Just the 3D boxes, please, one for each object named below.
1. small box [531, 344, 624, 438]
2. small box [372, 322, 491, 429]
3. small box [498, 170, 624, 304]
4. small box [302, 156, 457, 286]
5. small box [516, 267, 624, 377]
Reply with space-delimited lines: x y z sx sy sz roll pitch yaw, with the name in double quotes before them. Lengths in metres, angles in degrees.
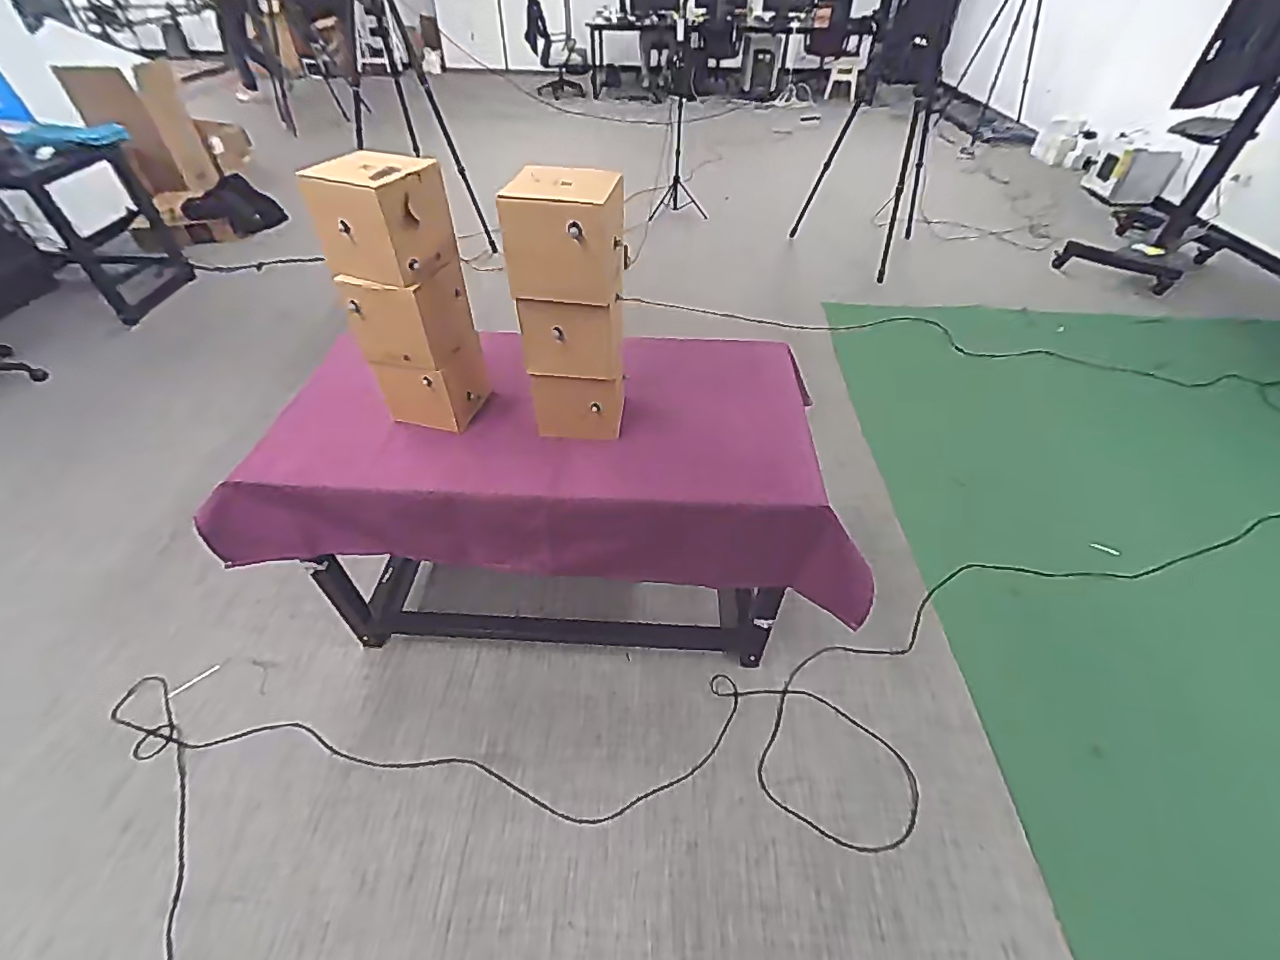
"small box" -0.129 -0.210 1.204 0.179 0.176 0.168 4 44 3
"small box" -0.461 -0.235 1.226 0.179 0.176 0.168 11 46 9
"small box" -0.128 -0.428 0.957 0.179 0.176 0.168 7 44 6
"small box" -0.468 -0.480 1.006 0.179 0.176 0.168 16 46 15
"small box" -0.130 -0.321 1.084 0.179 0.176 0.168 5 45 5
